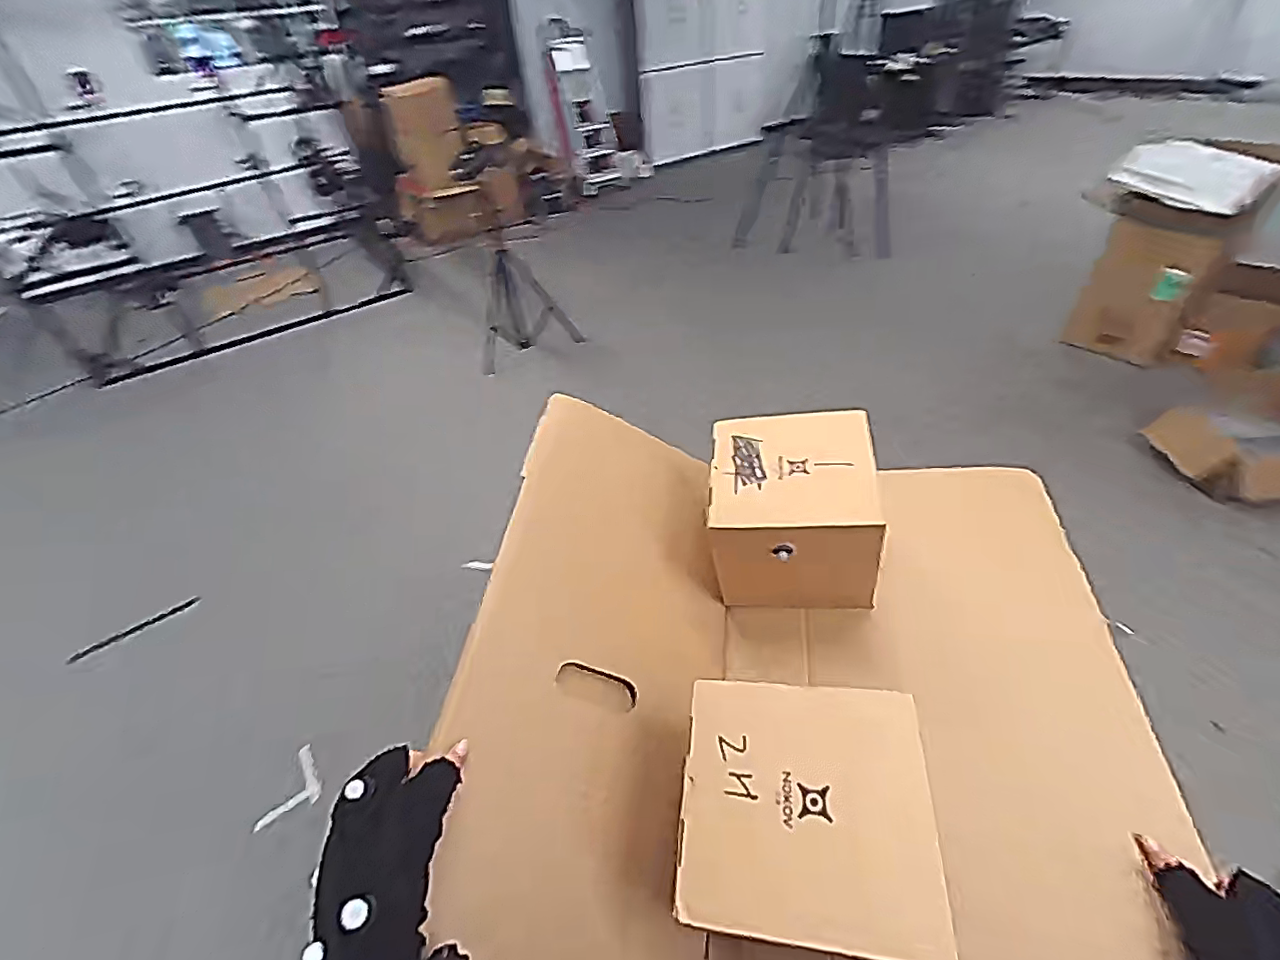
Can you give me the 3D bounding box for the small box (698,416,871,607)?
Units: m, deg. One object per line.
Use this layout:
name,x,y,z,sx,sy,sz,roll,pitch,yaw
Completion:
small box,0.174,0.044,0.661,0.179,0.176,0.168,-3,49,14

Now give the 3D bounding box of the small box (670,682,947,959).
small box,0.134,0.287,0.458,0.179,0.176,0.168,-3,49,16
